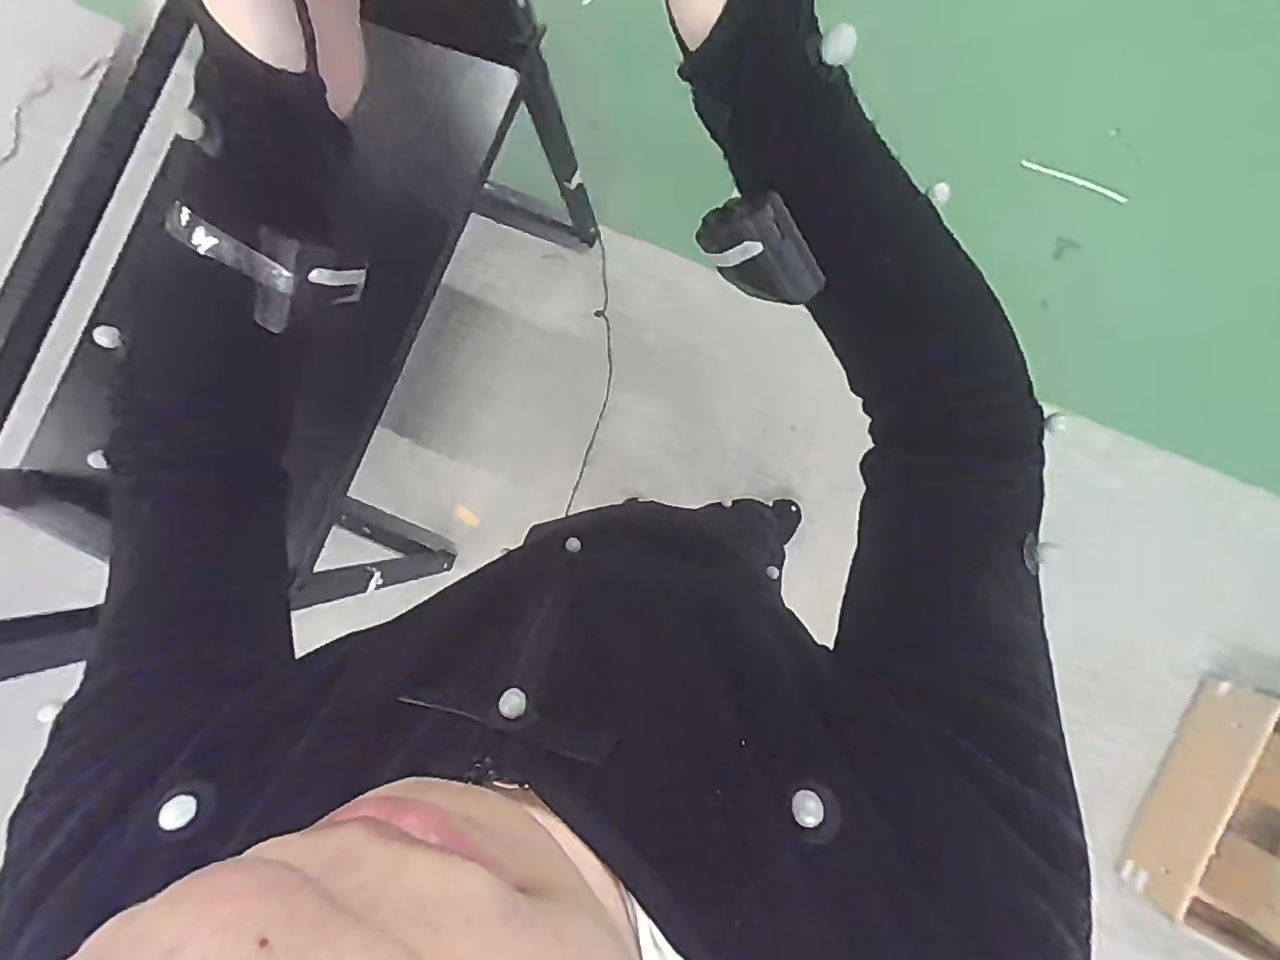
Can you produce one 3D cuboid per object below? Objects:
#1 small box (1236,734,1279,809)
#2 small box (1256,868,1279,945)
[{"bbox_3d":[1.649,0.753,1.324,0.179,0.176,0.168,25,89,6],"label":"small box"},{"bbox_3d":[1.516,0.984,1.157,0.179,0.176,0.168,25,87,6],"label":"small box"}]
